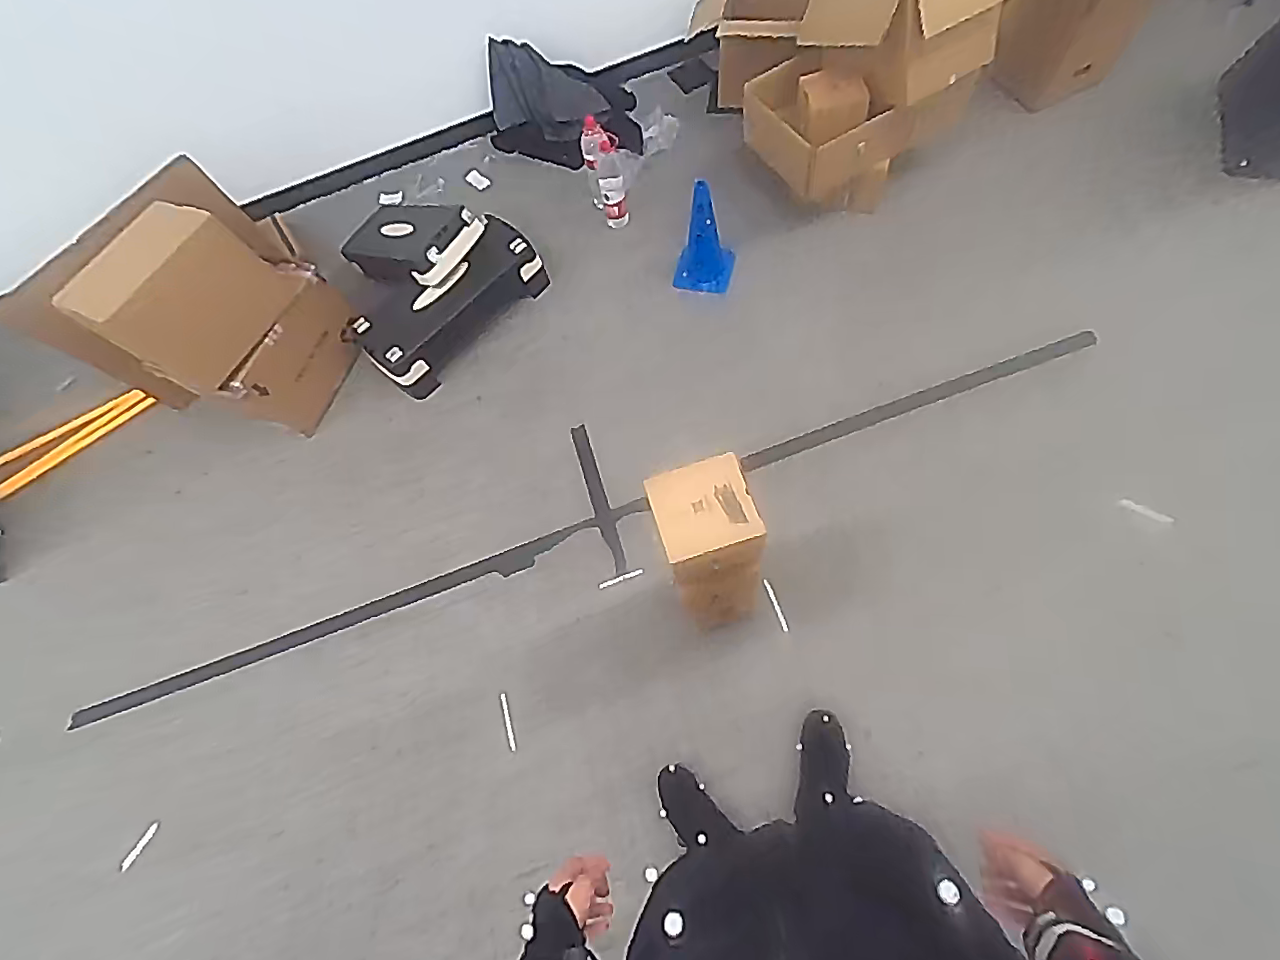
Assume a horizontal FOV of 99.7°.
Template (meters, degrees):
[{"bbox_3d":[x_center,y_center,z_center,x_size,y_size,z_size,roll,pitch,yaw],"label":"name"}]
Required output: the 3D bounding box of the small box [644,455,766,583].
[{"bbox_3d":[0.121,0.080,1.016,0.179,0.176,0.168,-19,66,1],"label":"small box"}]

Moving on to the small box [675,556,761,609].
[{"bbox_3d":[0.144,0.159,1.159,0.168,0.176,0.179,-20,67,0],"label":"small box"}]

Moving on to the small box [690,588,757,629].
[{"bbox_3d":[0.199,0.283,1.457,0.168,0.176,0.179,-23,68,-1],"label":"small box"}]
